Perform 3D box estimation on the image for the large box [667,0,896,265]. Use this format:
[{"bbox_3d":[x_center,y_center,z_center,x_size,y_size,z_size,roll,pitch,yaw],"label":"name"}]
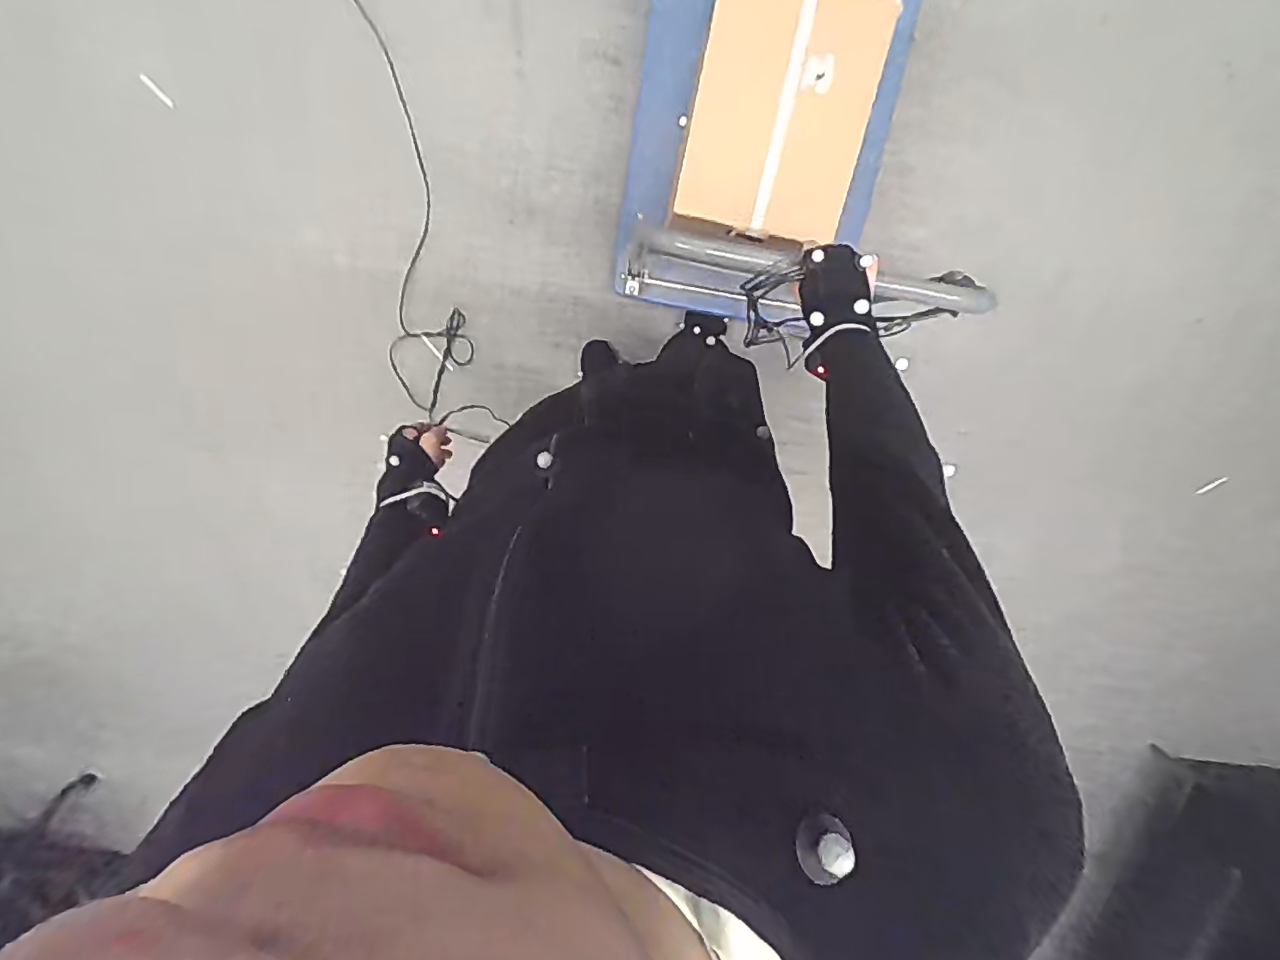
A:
[{"bbox_3d":[0.247,-0.689,1.101,0.320,0.320,0.408,11,106,-5],"label":"large box"}]
